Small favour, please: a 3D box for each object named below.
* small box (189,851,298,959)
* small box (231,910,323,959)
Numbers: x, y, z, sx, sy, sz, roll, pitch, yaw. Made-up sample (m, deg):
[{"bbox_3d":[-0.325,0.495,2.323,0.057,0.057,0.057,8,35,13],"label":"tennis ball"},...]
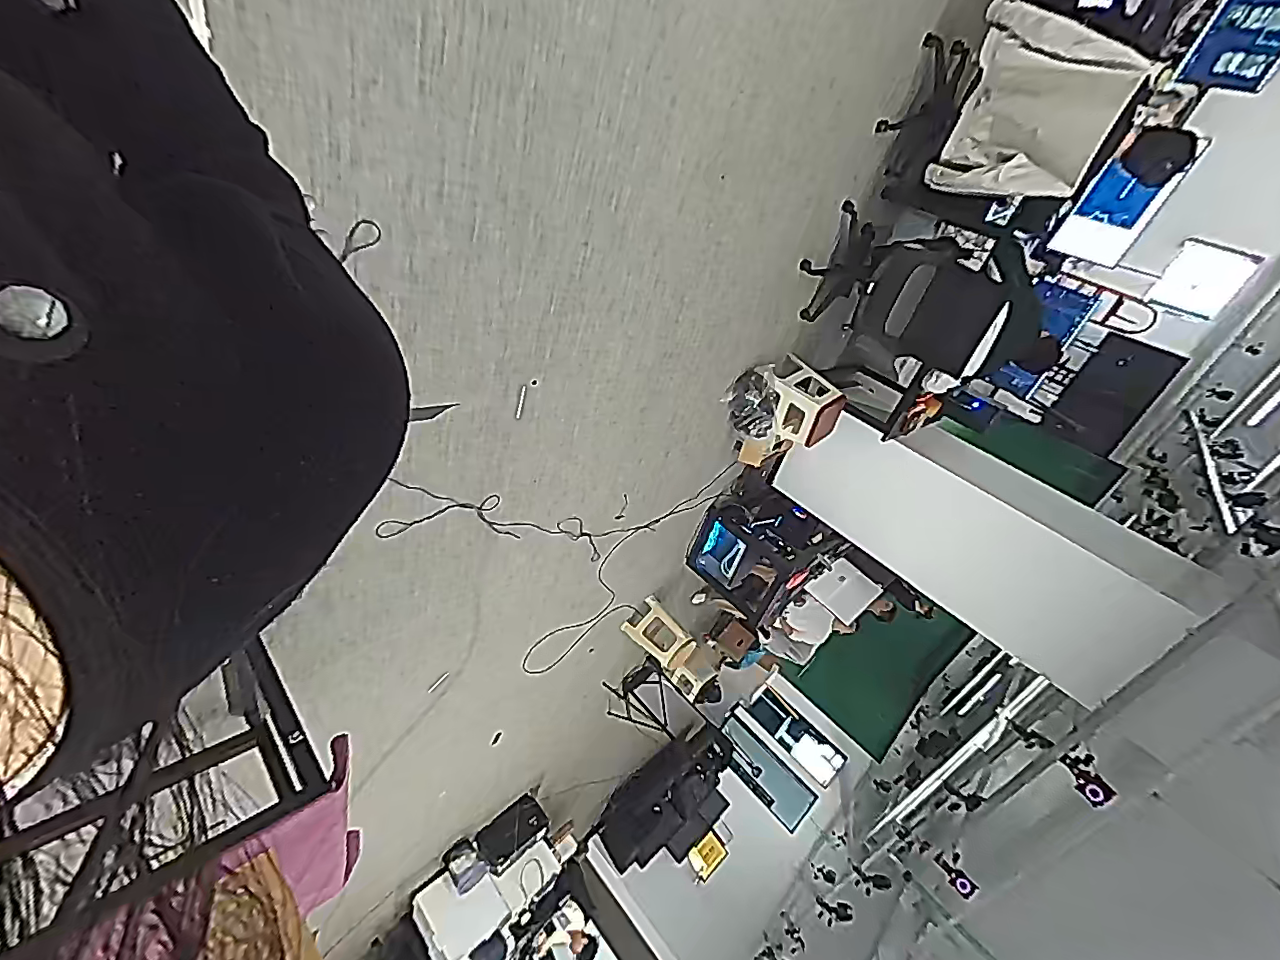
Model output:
[{"bbox_3d":[-0.906,1.010,1.249,0.168,0.176,0.179,-20,139,-44],"label":"small box"},{"bbox_3d":[-0.795,1.101,1.173,0.179,0.176,0.168,-22,142,-43],"label":"small box"}]
